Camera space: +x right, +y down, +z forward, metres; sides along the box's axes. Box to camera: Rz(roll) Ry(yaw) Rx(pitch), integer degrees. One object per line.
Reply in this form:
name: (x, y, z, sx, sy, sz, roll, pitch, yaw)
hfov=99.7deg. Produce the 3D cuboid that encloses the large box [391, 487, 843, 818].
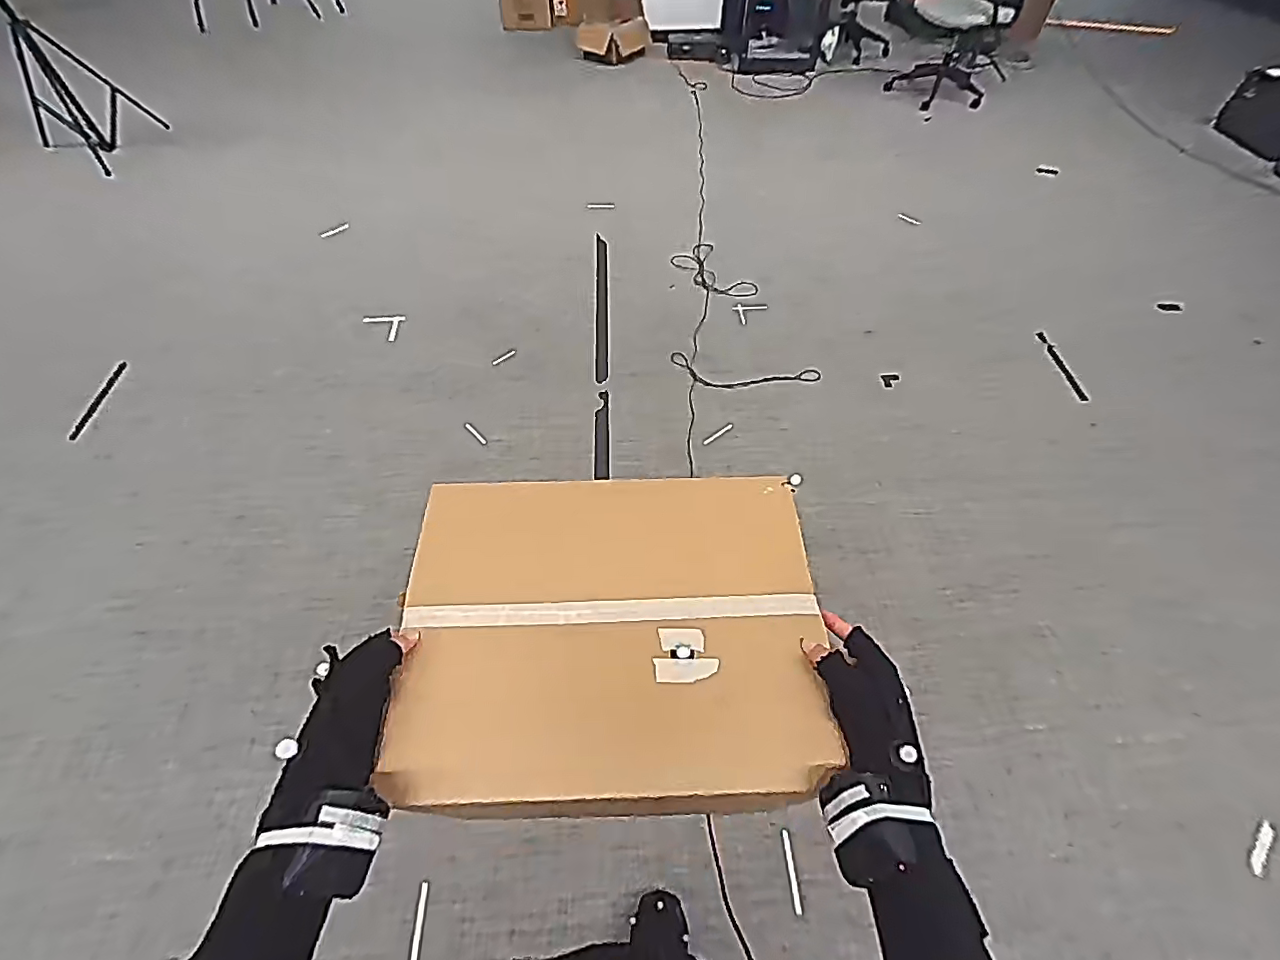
large box: (-0.027, 0.223, 0.673, 0.408, 0.320, 0.320, -1, 57, -2)
